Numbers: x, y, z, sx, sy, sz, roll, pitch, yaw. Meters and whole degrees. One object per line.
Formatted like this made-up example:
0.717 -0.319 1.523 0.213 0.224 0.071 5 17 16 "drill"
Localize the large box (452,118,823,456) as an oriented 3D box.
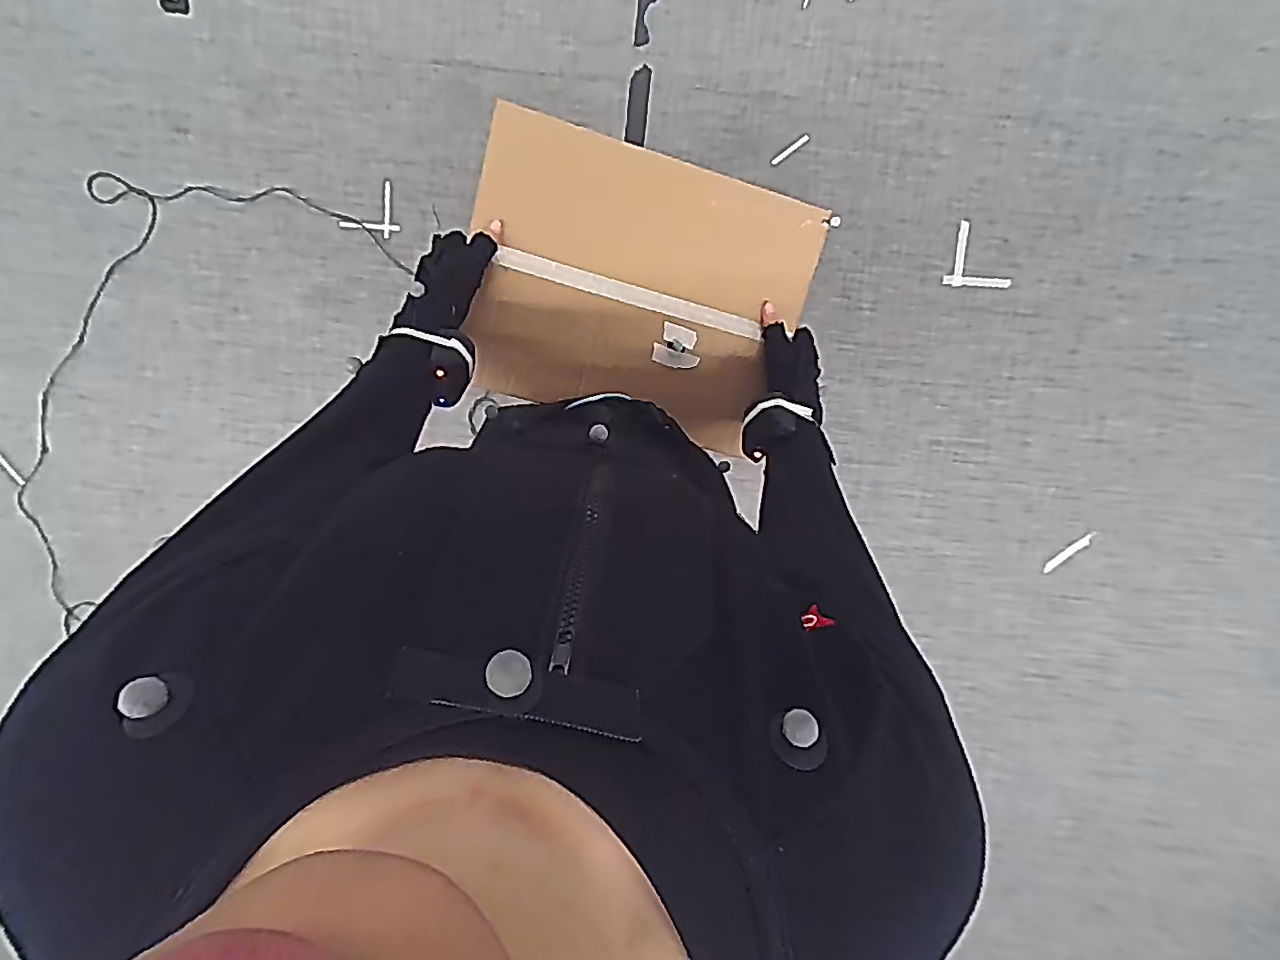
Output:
-0.018 -0.253 0.806 0.408 0.320 0.320 15 102 -8 "large box"
